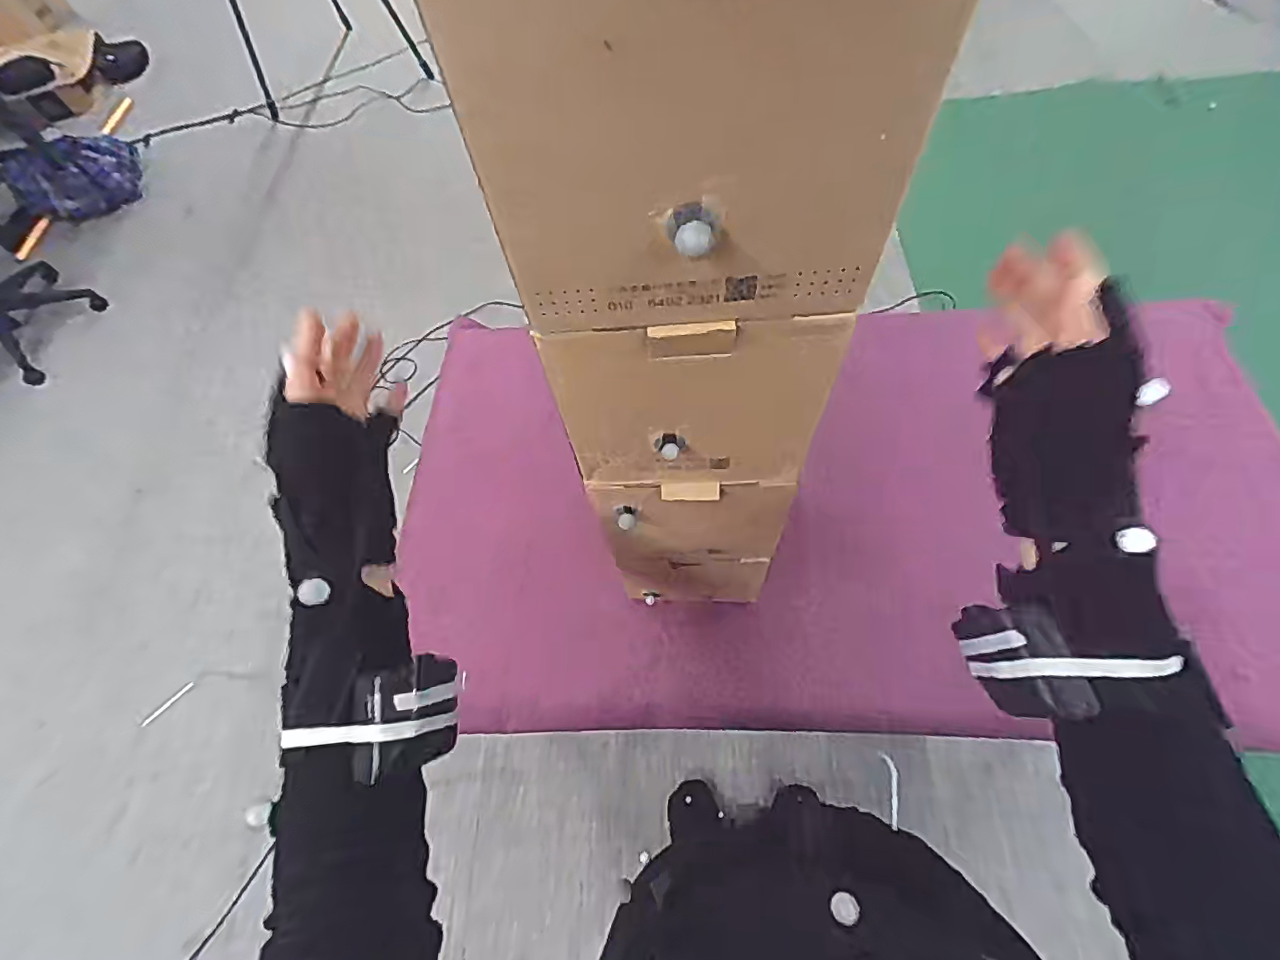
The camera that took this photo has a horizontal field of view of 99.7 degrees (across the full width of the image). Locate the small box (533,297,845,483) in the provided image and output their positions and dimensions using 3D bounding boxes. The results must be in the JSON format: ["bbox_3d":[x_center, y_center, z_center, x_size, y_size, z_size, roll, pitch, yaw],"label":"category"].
[{"bbox_3d":[0.030,-0.114,0.390,0.168,0.176,0.179,-3,62,4],"label":"small box"}]

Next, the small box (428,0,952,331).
[{"bbox_3d":[0.015,-0.194,0.246,0.168,0.176,0.179,-3,62,4],"label":"small box"}]

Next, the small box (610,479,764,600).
[{"bbox_3d":[0.062,0.045,0.674,0.168,0.176,0.179,0,62,6],"label":"small box"}]
